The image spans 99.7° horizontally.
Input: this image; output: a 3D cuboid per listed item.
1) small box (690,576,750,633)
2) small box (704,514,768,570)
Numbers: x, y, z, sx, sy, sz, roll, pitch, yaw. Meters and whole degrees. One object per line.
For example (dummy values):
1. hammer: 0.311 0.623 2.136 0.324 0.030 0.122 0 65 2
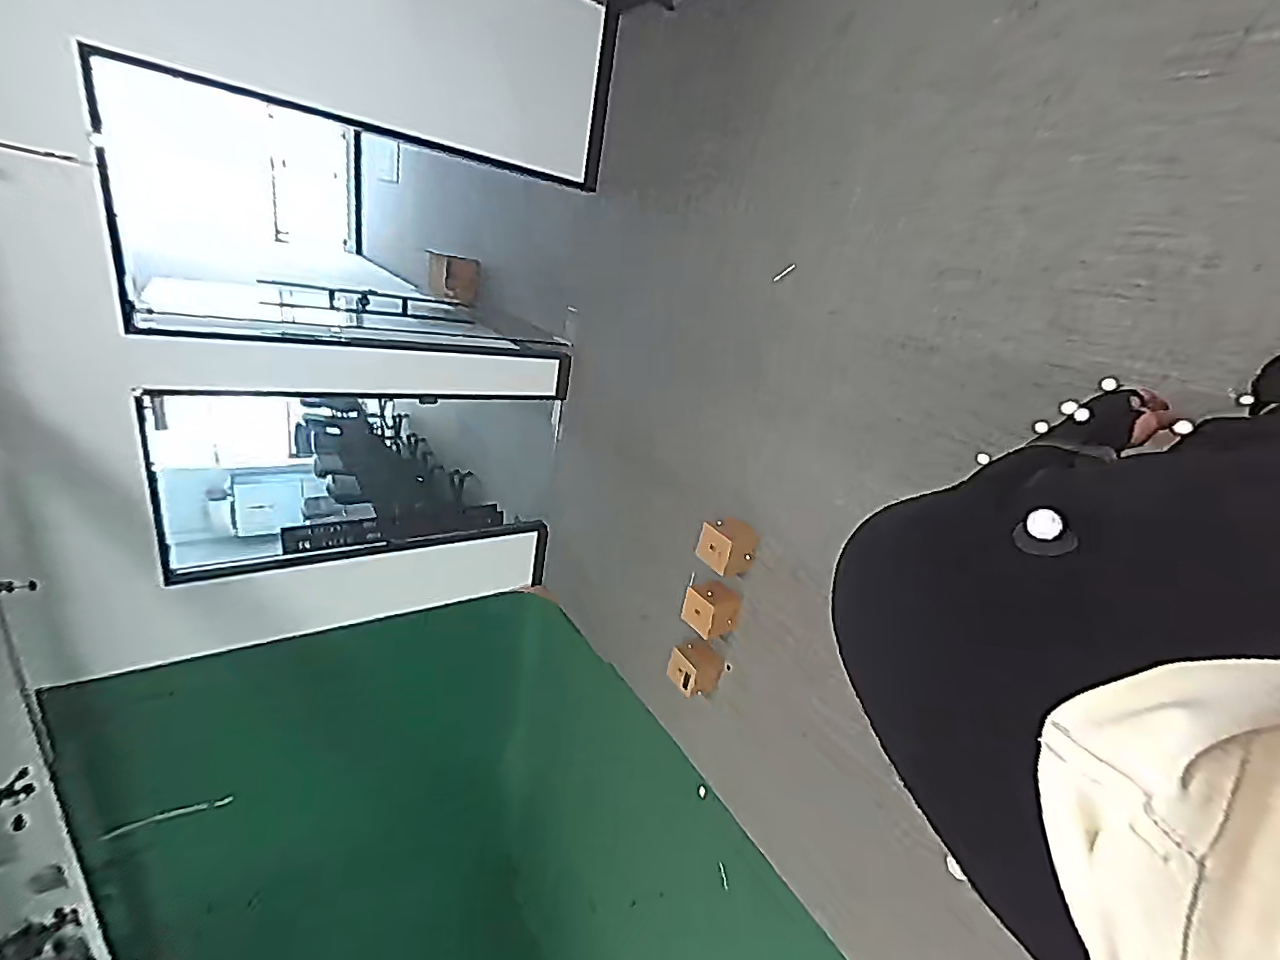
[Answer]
1. small box: 0.351 0.540 2.379 0.179 0.176 0.168 35 122 47
2. small box: 0.403 0.252 2.263 0.179 0.176 0.168 39 125 45
